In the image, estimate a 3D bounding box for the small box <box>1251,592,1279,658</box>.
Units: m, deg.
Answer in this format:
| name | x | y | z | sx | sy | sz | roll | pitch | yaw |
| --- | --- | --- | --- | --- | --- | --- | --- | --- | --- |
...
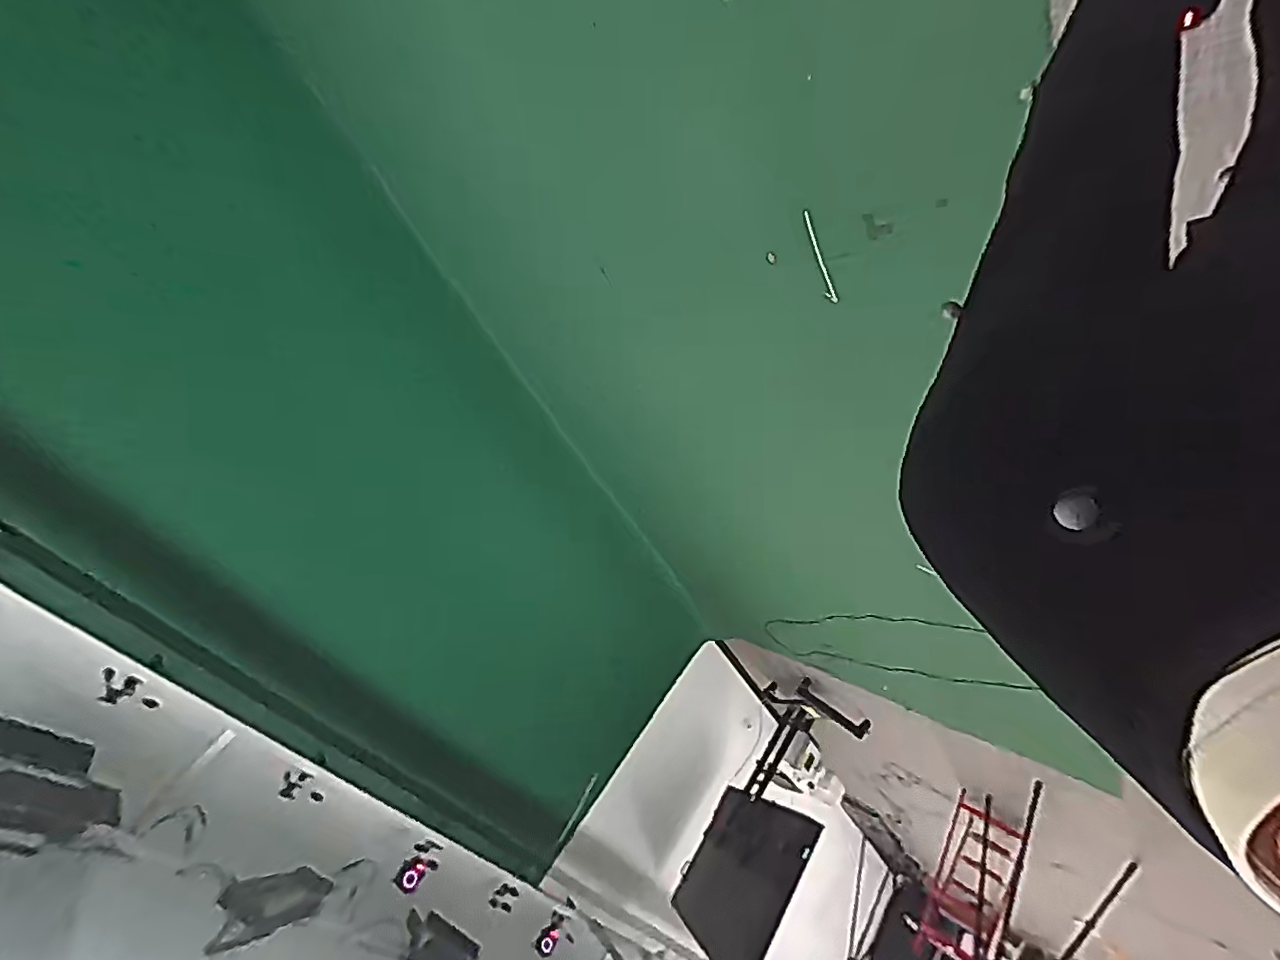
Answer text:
| name | x | y | z | sx | sy | sz | roll | pitch | yaw |
| --- | --- | --- | --- | --- | --- | --- | --- | --- | --- |
| small box | 1.671 | 0.343 | 1.350 | 0.168 | 0.176 | 0.179 | 9 | 140 | 49 |
